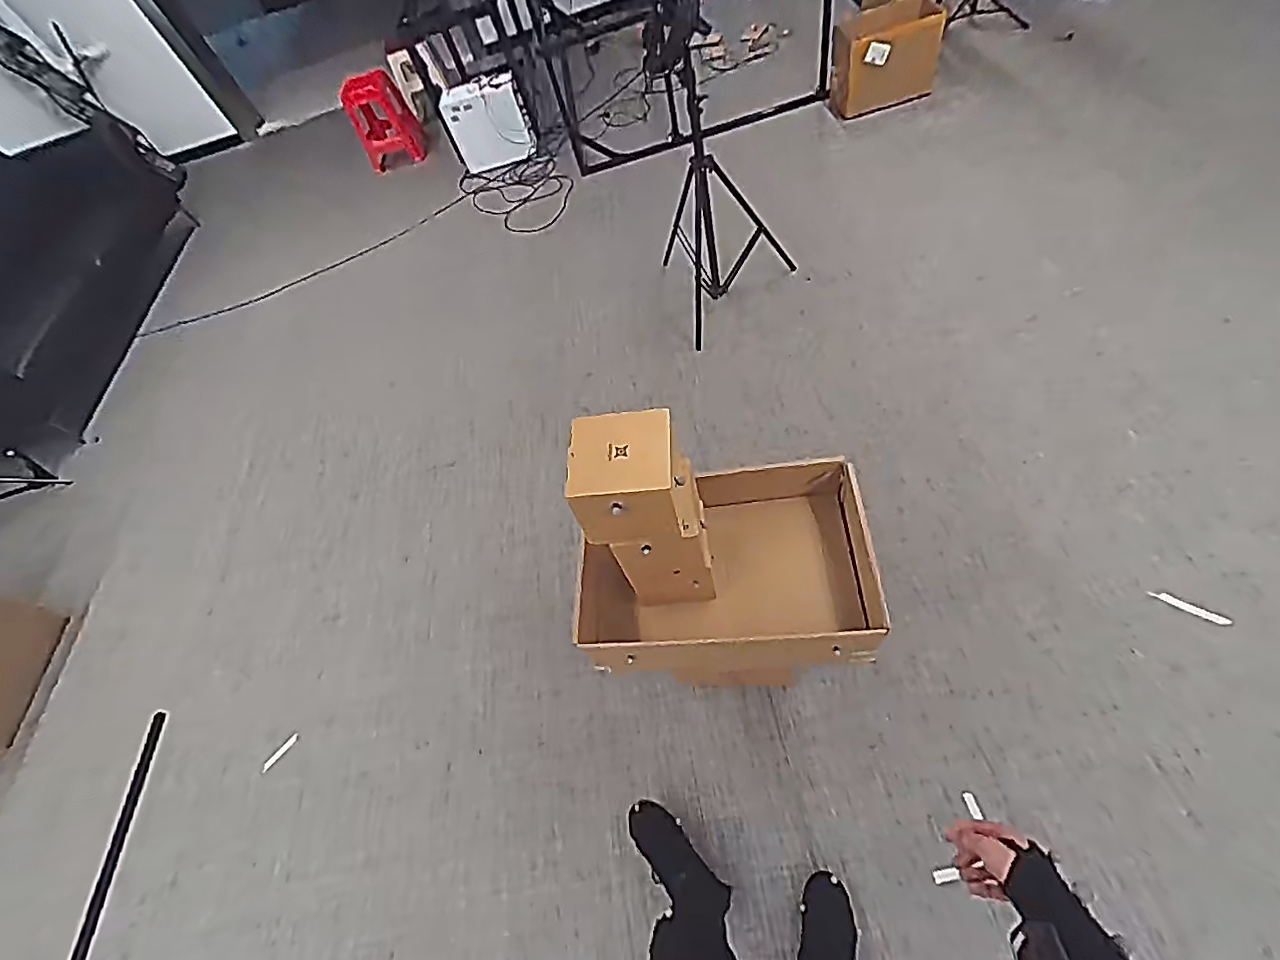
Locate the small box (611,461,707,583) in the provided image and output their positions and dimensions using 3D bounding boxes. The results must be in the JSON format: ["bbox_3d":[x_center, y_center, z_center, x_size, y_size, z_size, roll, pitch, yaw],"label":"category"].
[{"bbox_3d":[0.039,0.088,1.082,0.168,0.176,0.179,-8,55,9],"label":"small box"}]

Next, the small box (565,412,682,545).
[{"bbox_3d":[-0.019,0.003,0.953,0.179,0.176,0.168,-6,56,10],"label":"small box"}]
